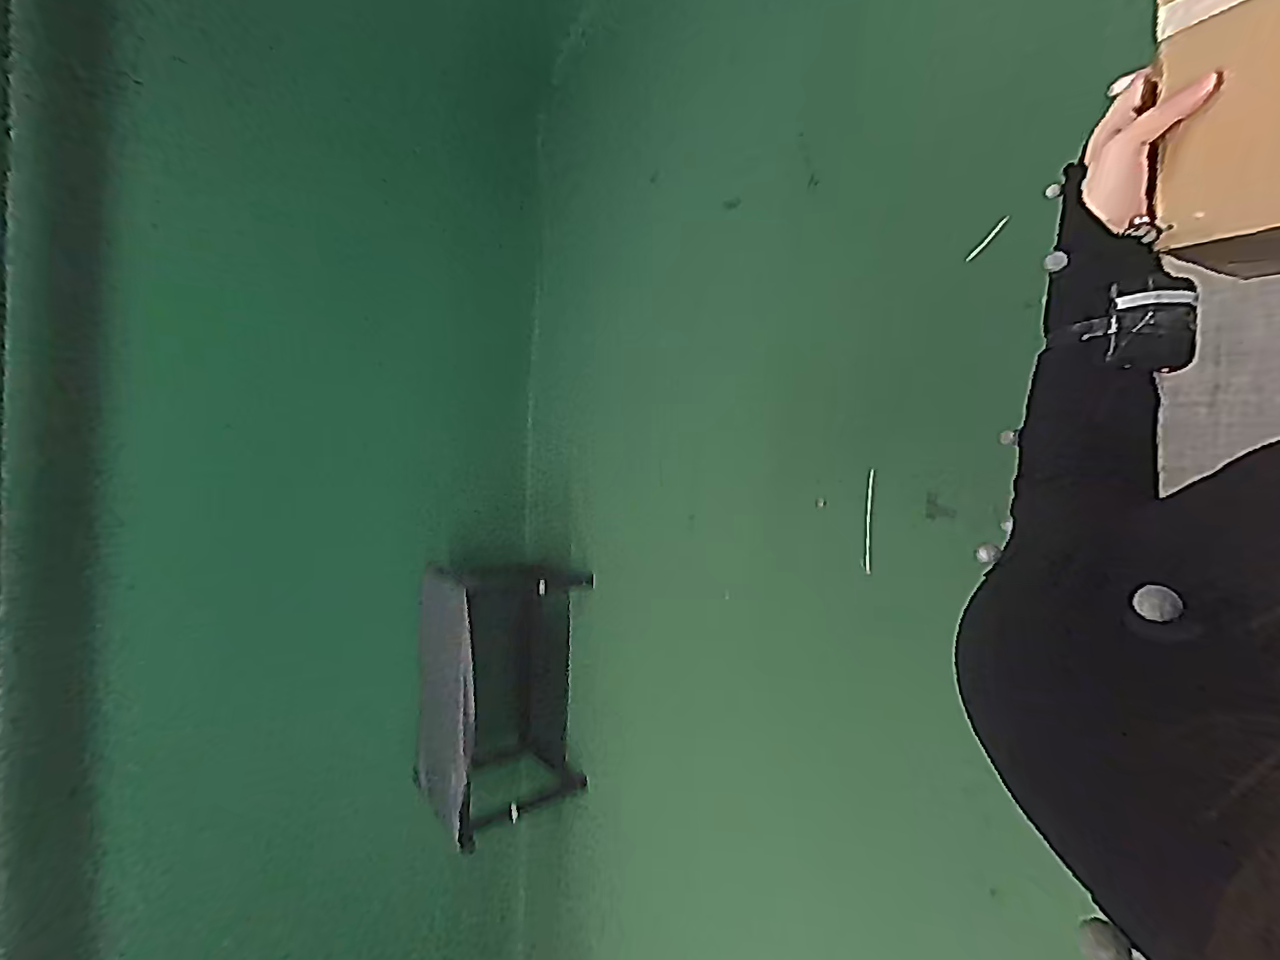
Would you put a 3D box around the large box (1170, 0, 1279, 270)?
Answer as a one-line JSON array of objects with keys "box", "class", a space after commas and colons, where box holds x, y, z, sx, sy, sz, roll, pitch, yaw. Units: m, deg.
[{"box": [0.629, -0.335, 0.309, 0.408, 0.320, 0.320, 8, 103, 57], "class": "large box"}]
